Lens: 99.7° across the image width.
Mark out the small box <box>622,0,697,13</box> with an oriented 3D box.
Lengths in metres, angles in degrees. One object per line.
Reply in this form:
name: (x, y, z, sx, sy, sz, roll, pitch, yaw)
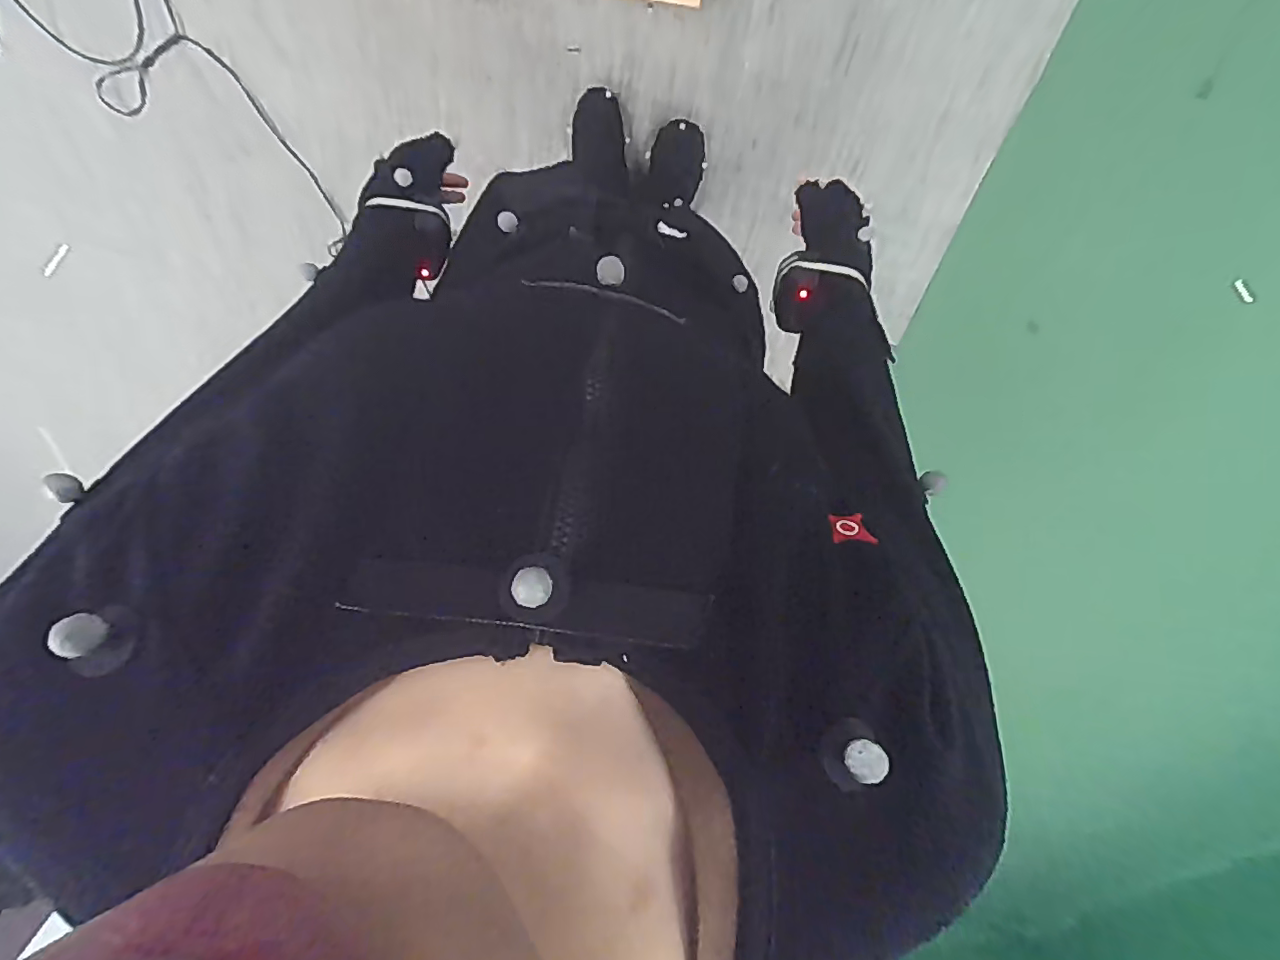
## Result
small box: (0.030, -0.927, 0.924, 0.168, 0.176, 0.179, 8, 128, -2)
